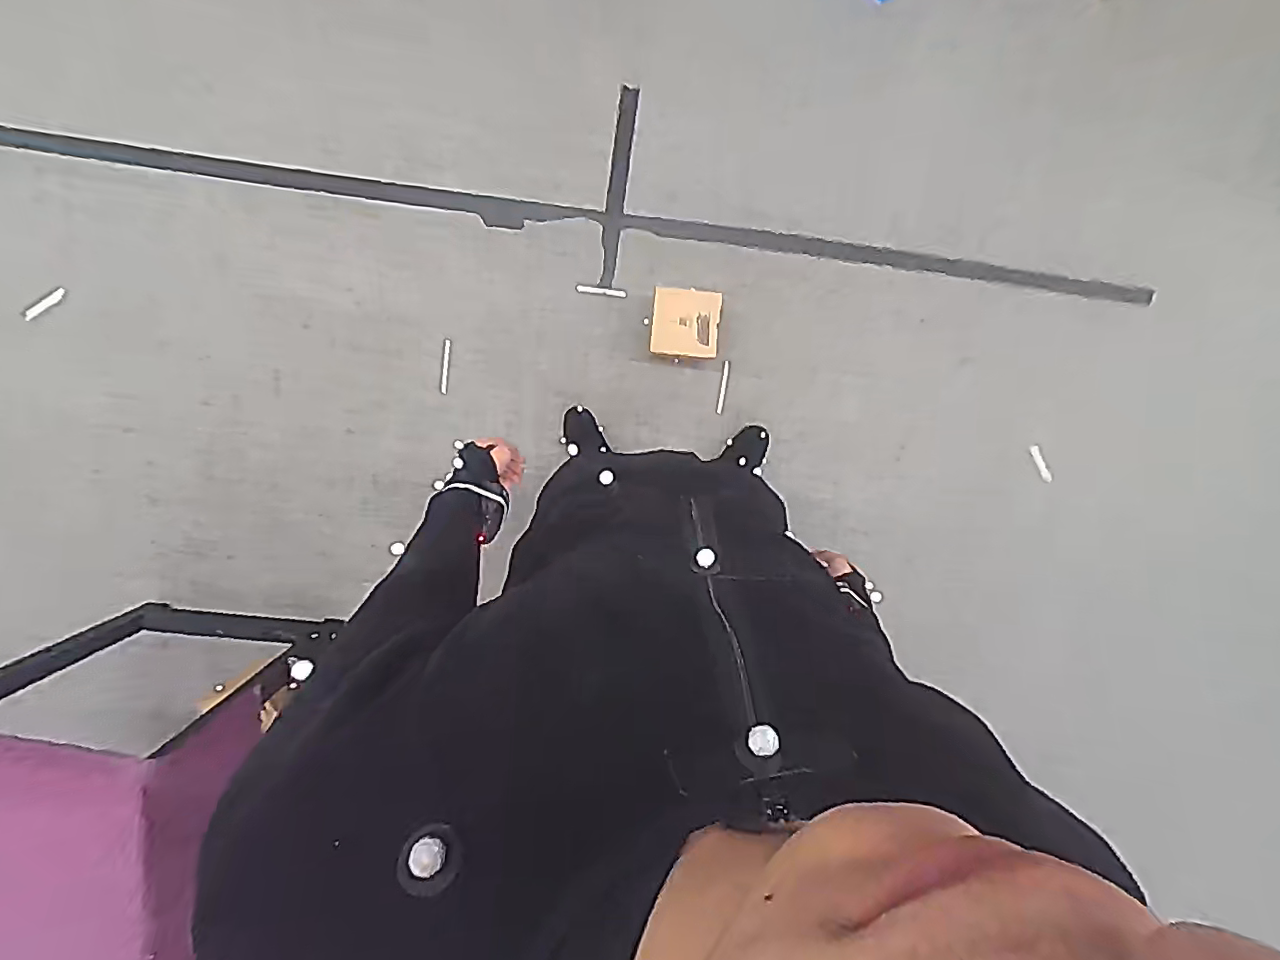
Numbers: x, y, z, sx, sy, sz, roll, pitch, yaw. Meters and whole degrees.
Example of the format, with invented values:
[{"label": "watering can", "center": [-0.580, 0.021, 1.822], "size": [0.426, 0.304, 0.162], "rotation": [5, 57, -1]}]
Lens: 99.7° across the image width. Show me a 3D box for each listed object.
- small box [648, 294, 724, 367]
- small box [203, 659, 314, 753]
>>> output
[{"label": "small box", "center": [0.120, -0.404, 1.481], "size": [0.179, 0.176, 0.168], "rotation": [5, 99, -3]}, {"label": "small box", "center": [-1.120, 0.664, 1.603], "size": [0.179, 0.176, 0.168], "rotation": [-21, 99, 2]}]
